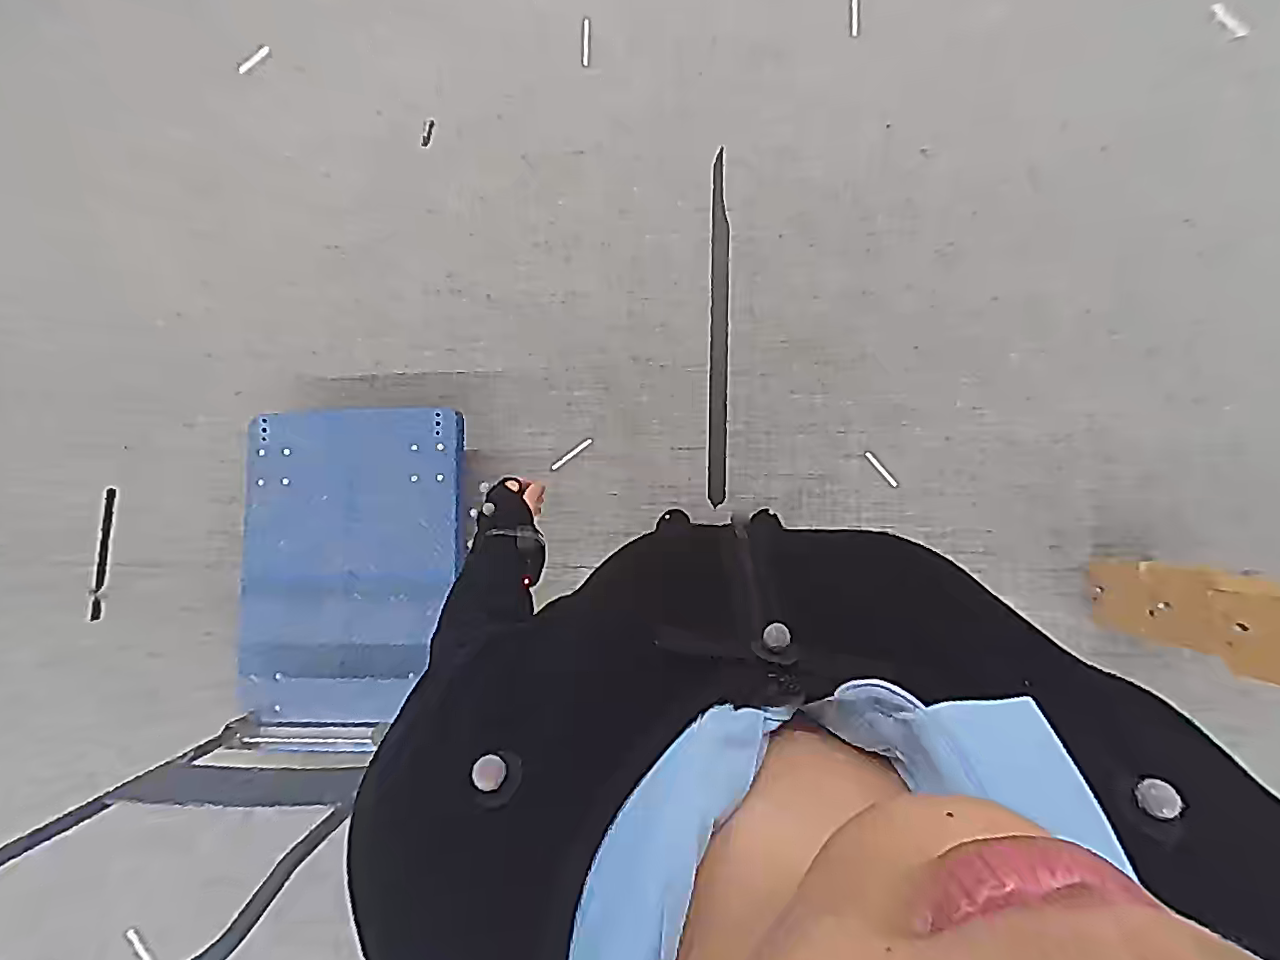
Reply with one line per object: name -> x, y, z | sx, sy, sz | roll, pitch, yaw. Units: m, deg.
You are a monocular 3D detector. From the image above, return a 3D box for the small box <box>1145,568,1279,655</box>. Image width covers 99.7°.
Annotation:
small box -> 1.244, 0.281, 1.154 | 0.179, 0.176, 0.168 | 4, 85, 6

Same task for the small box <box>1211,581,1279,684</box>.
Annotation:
small box -> 1.231, 0.281, 0.992 | 0.179, 0.176, 0.168 | -7, 85, 5
